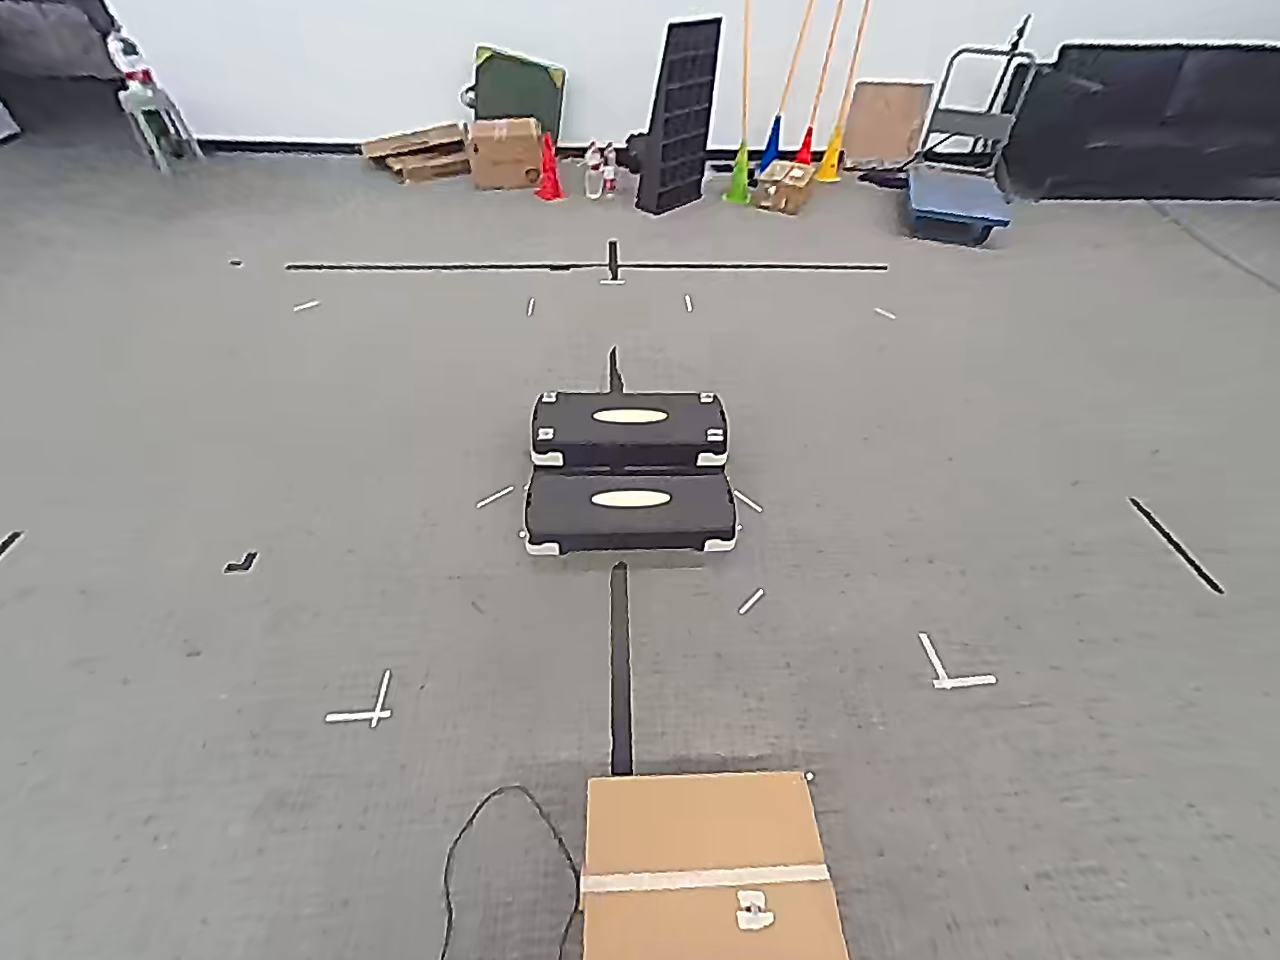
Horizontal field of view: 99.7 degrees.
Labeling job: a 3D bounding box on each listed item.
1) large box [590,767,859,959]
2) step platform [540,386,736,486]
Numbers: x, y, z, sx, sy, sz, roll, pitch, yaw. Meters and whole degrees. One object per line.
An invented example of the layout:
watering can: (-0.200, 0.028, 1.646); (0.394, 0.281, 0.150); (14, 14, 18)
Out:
large box: (0.113, 0.741, 0.972); (0.408, 0.320, 0.320); (0, 46, -4)
step platform: (-0.007, -0.161, 1.914); (0.684, 0.204, 0.286); (4, 46, 0)
